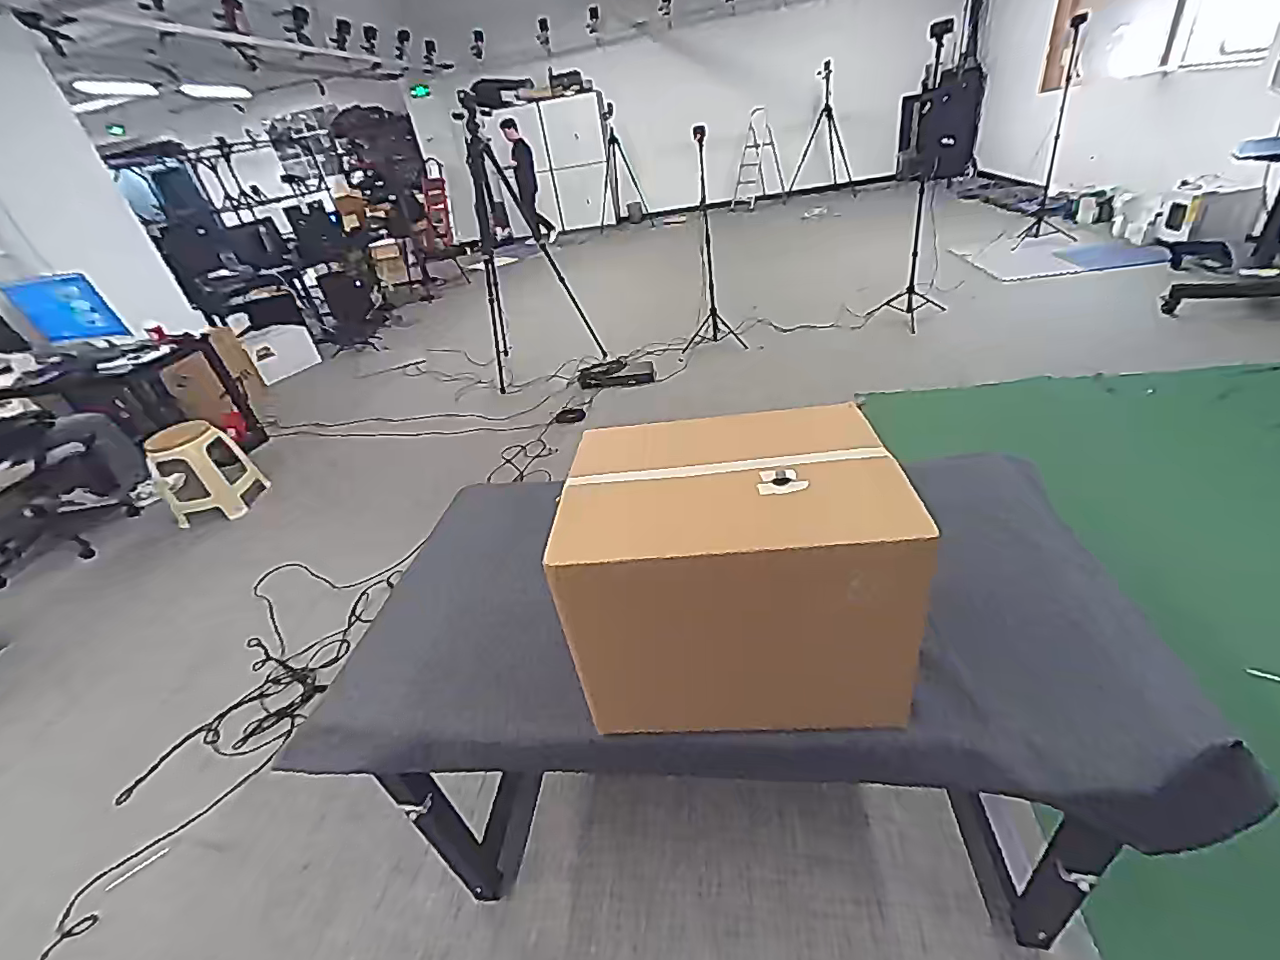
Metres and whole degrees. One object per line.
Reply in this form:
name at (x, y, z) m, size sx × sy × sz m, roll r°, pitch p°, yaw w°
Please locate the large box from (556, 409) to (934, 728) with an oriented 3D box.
large box at (0.127, 0.119, 0.766) m, size 0.408 × 0.320 × 0.320 m, roll -5°, pitch 33°, yaw 7°
